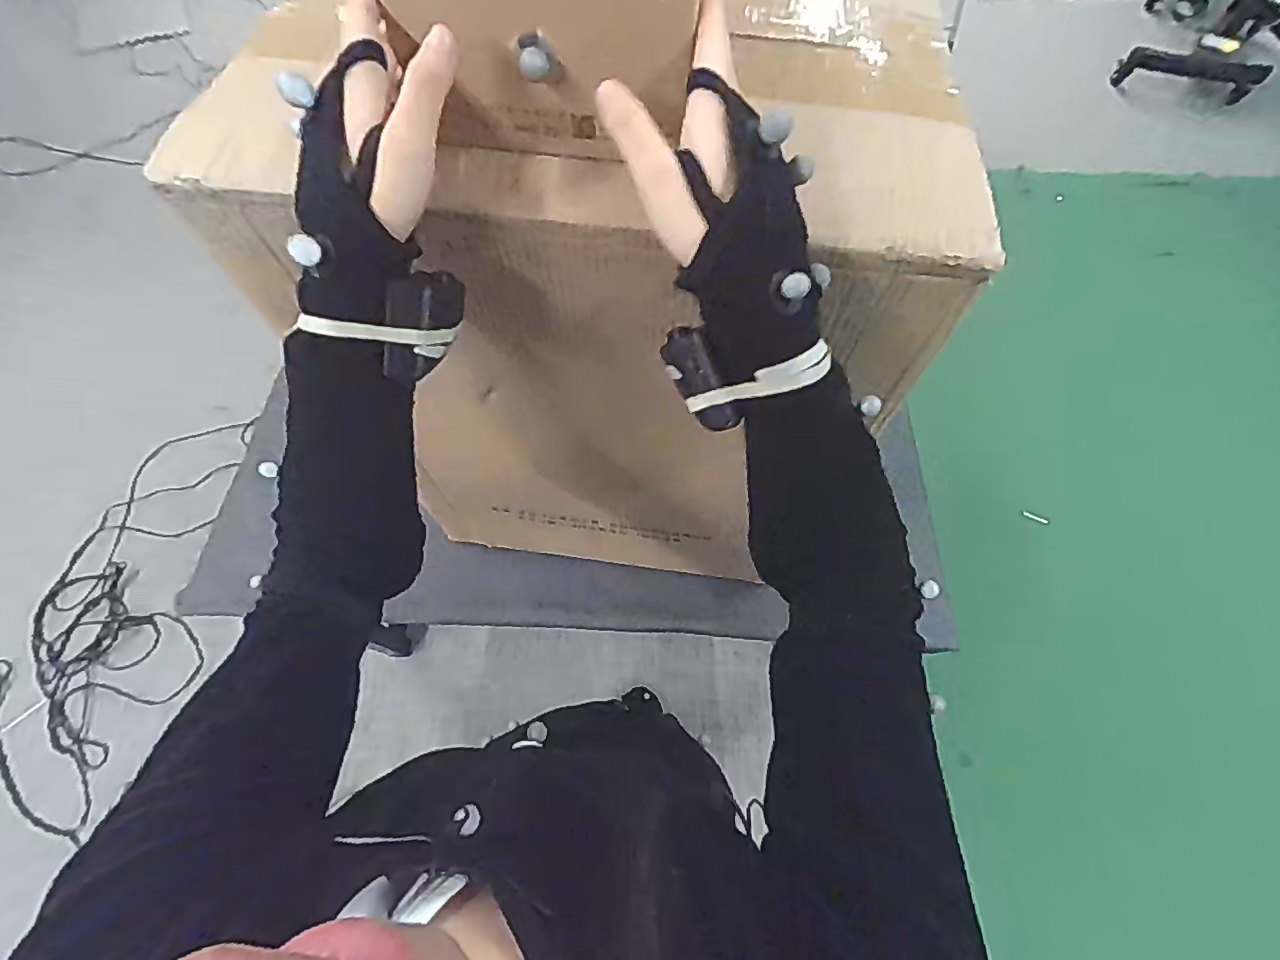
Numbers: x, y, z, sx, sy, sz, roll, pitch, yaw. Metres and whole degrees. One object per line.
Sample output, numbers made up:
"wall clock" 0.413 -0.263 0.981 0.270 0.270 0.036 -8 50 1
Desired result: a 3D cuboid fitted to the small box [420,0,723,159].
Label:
"small box" -0.030 -0.323 0.307 0.168 0.176 0.179 8 65 3
